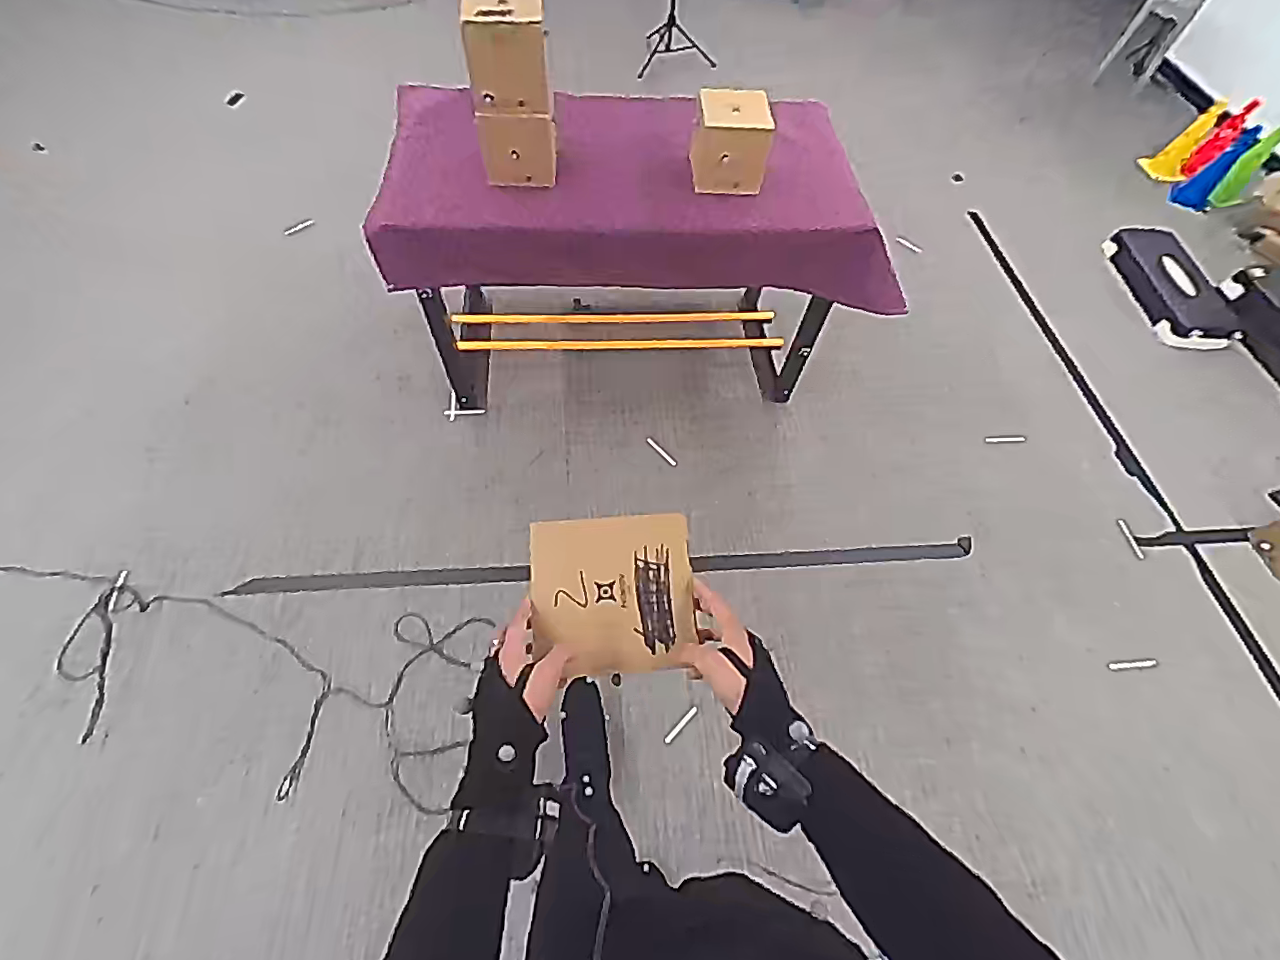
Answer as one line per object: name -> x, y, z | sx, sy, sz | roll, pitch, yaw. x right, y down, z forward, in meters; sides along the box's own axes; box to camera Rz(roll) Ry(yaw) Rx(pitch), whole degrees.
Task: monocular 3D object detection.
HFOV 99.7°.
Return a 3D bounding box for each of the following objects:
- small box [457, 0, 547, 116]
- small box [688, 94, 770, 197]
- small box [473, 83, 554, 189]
small box -> -0.295, -0.931, 1.188 | 0.168, 0.176, 0.179 | -4, 60, -7
small box -> 0.218, -0.840, 1.366 | 0.168, 0.176, 0.179 | -1, 59, -4
small box -> -0.301, -0.840, 1.325 | 0.168, 0.176, 0.179 | 0, 60, -5
